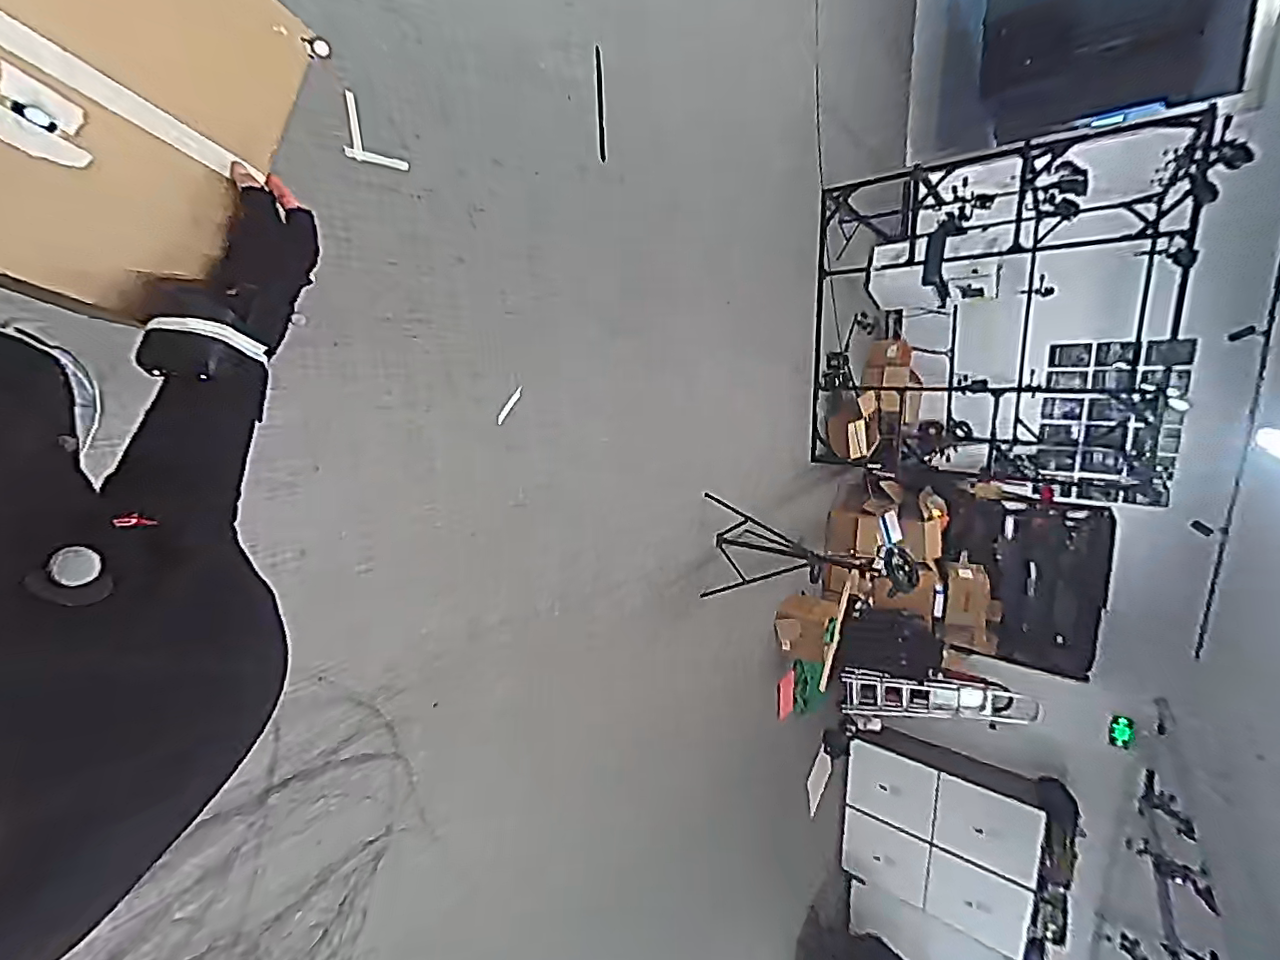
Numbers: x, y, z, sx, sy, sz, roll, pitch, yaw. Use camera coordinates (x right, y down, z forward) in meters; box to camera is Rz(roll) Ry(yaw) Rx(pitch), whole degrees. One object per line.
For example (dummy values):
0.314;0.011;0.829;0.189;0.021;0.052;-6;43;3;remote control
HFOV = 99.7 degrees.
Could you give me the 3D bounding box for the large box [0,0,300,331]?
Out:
-0.587;-0.351;0.418;0.408;0.320;0.320;22;85;-59;large box
